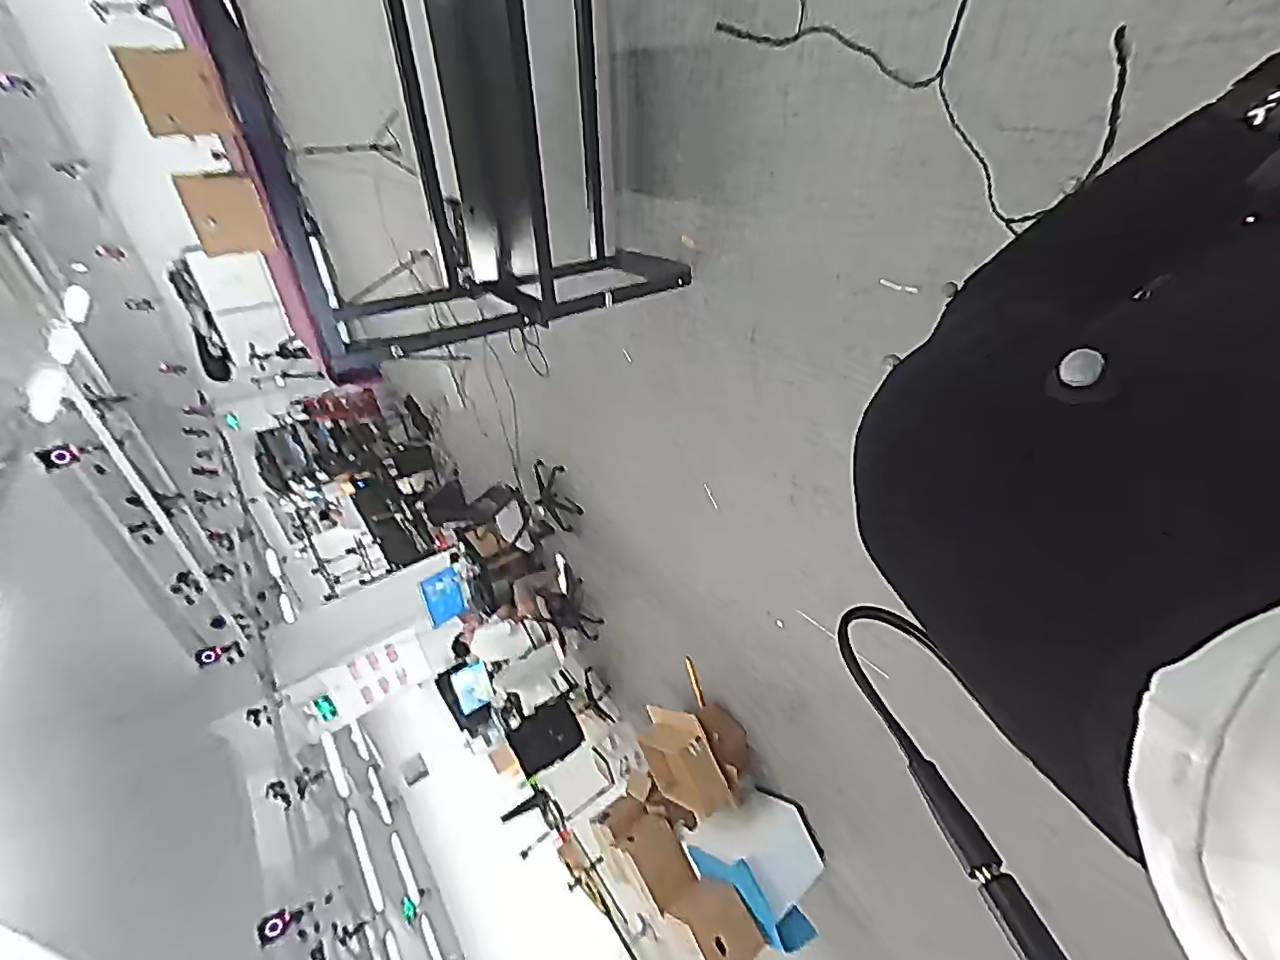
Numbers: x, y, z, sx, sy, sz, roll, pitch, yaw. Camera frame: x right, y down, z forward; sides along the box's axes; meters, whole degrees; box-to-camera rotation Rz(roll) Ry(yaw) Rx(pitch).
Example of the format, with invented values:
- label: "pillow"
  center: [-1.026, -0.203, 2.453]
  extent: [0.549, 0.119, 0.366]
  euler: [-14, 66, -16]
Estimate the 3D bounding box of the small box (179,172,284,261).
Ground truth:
- label: "small box"
  center: [-1.061, -0.692, 1.412]
  extent: [0.168, 0.176, 0.179]
  euler: [39, 141, 40]
